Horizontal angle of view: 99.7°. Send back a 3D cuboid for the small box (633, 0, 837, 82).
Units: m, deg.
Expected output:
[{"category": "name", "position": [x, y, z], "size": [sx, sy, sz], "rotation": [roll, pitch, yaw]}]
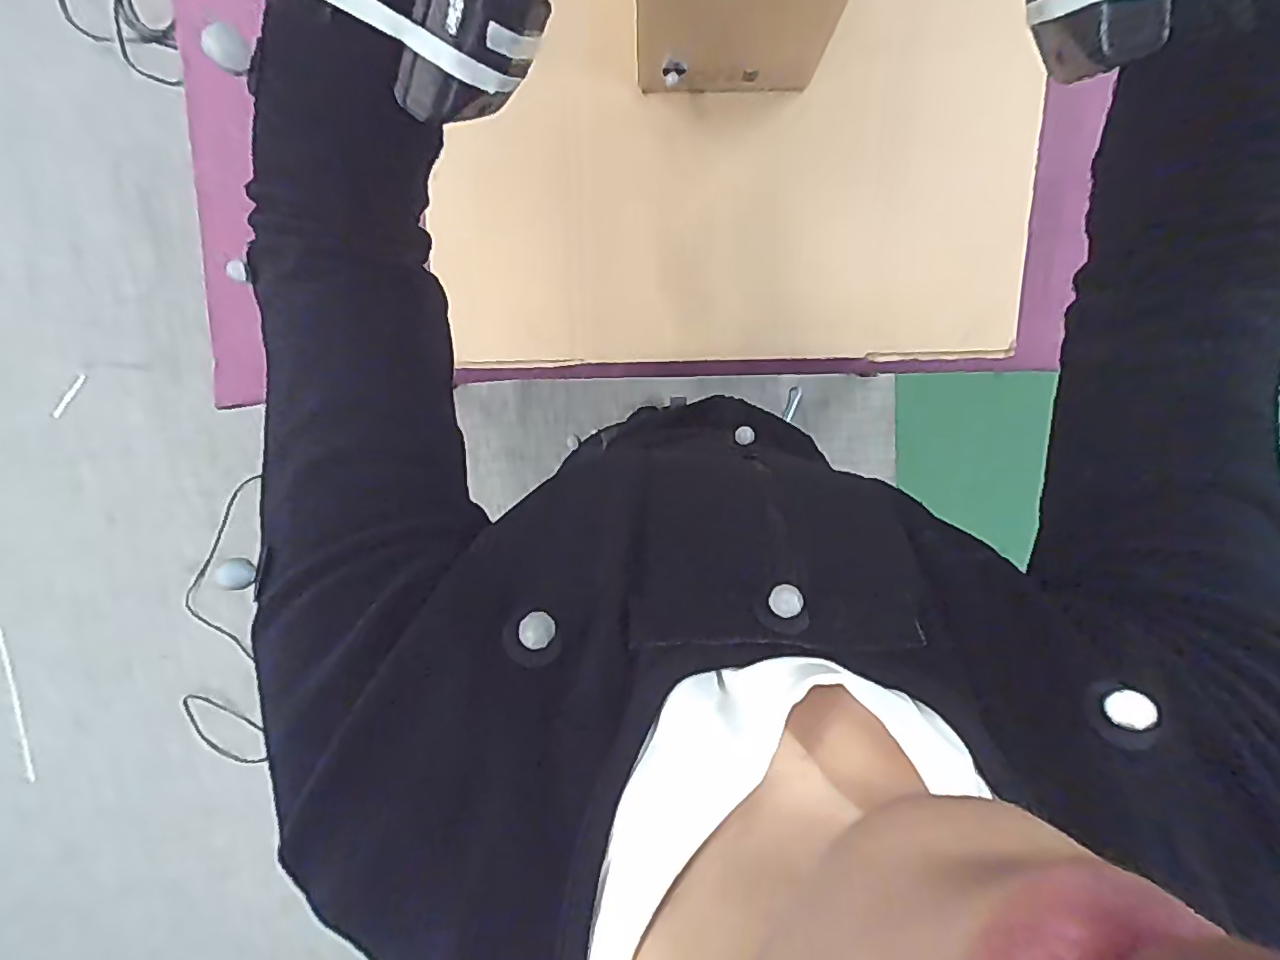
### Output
[{"category": "small box", "position": [0.077, -0.455, 0.430], "size": [0.168, 0.176, 0.179], "rotation": [0, 94, 0]}]
